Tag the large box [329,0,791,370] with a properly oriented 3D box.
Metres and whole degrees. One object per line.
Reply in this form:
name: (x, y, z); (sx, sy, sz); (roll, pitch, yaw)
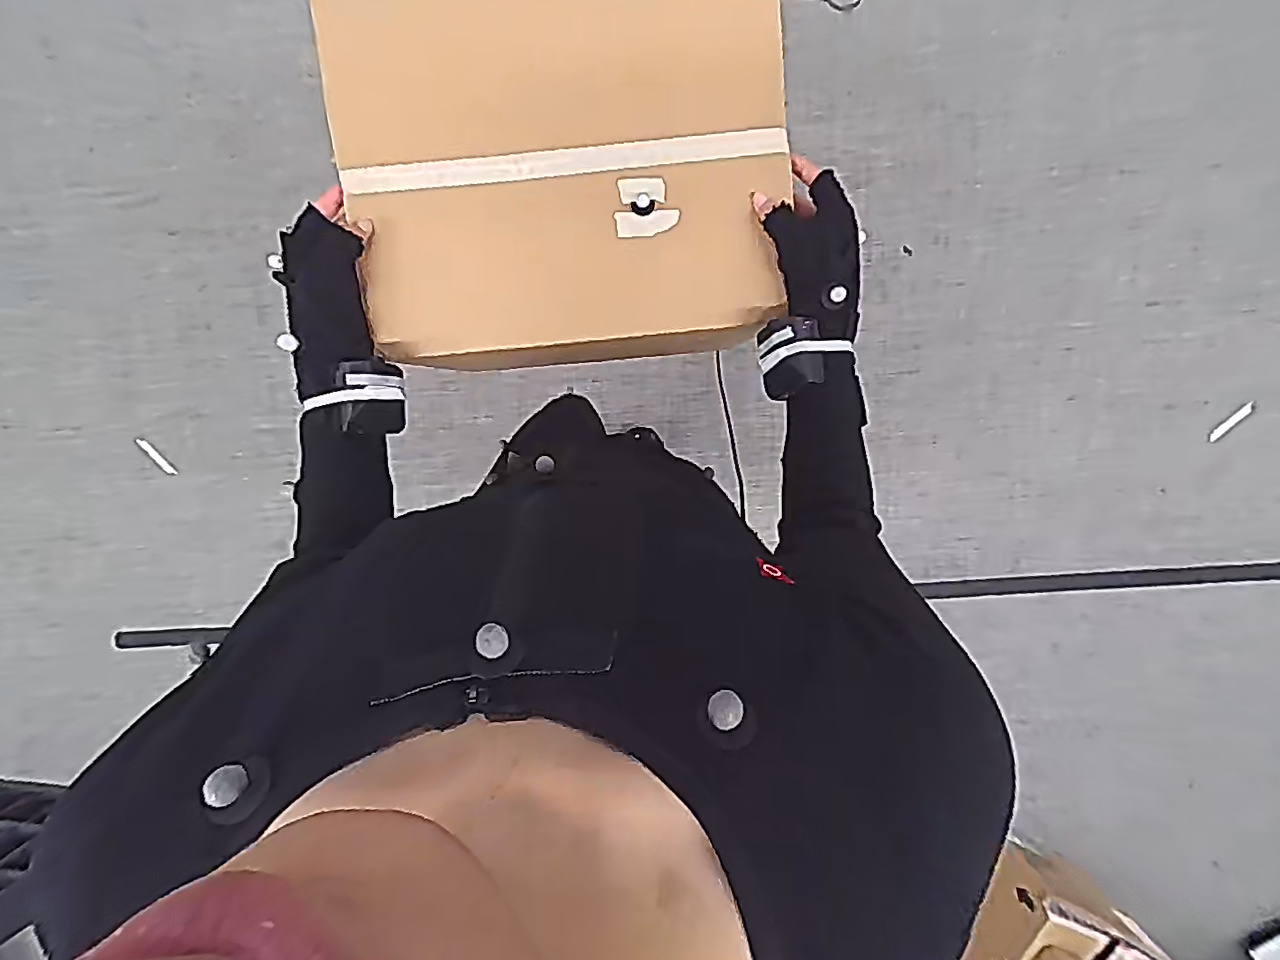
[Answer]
large box: (-0.071, -0.317, 0.650); (0.408, 0.320, 0.320); (-6, 99, -1)
